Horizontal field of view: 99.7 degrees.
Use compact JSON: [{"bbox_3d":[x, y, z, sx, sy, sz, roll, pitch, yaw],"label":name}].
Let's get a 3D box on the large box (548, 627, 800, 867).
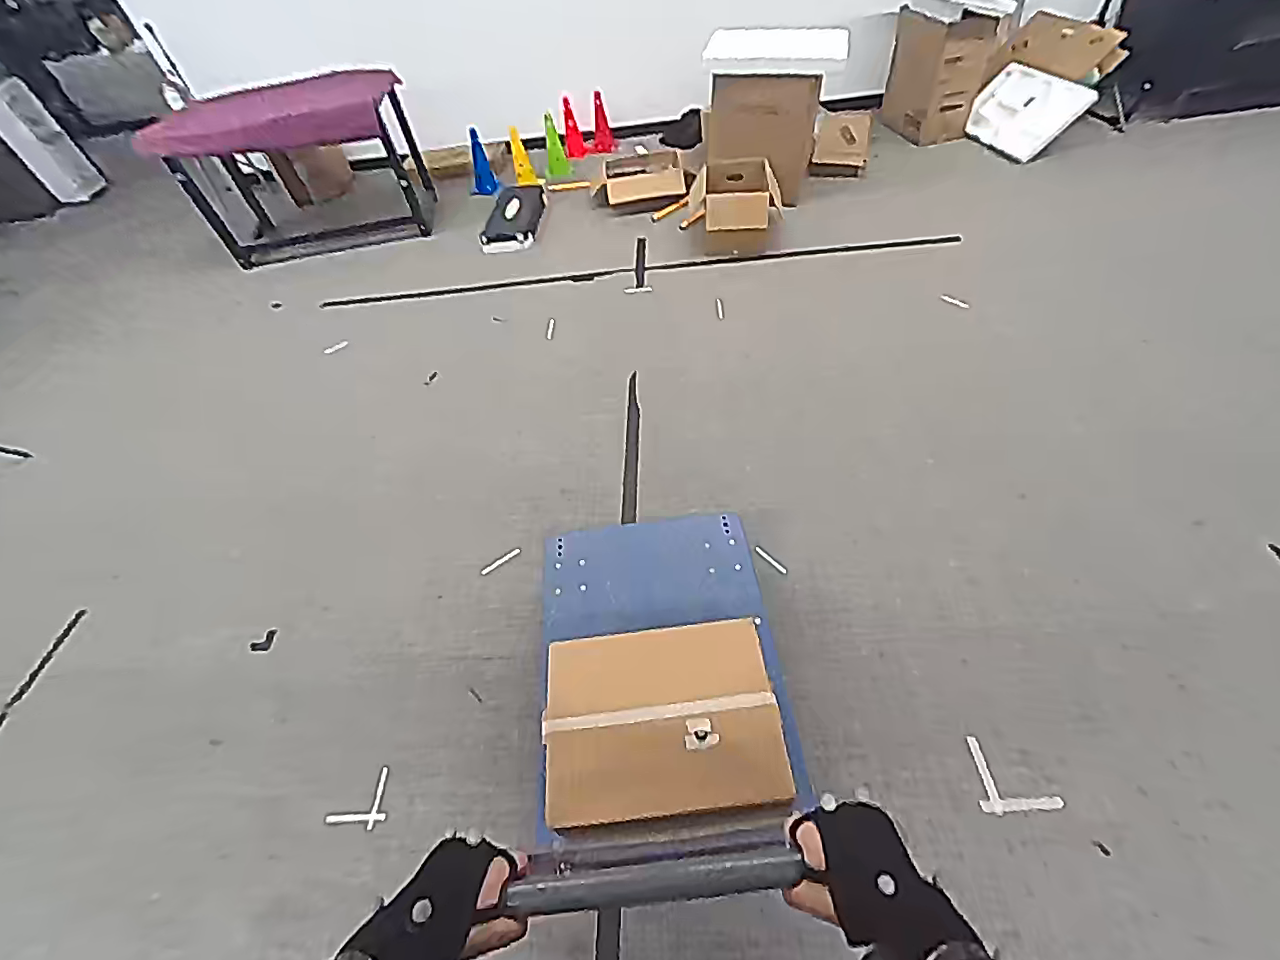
[{"bbox_3d":[0.051,0.519,1.042,0.408,0.320,0.320,-7,50,0],"label":"large box"}]
